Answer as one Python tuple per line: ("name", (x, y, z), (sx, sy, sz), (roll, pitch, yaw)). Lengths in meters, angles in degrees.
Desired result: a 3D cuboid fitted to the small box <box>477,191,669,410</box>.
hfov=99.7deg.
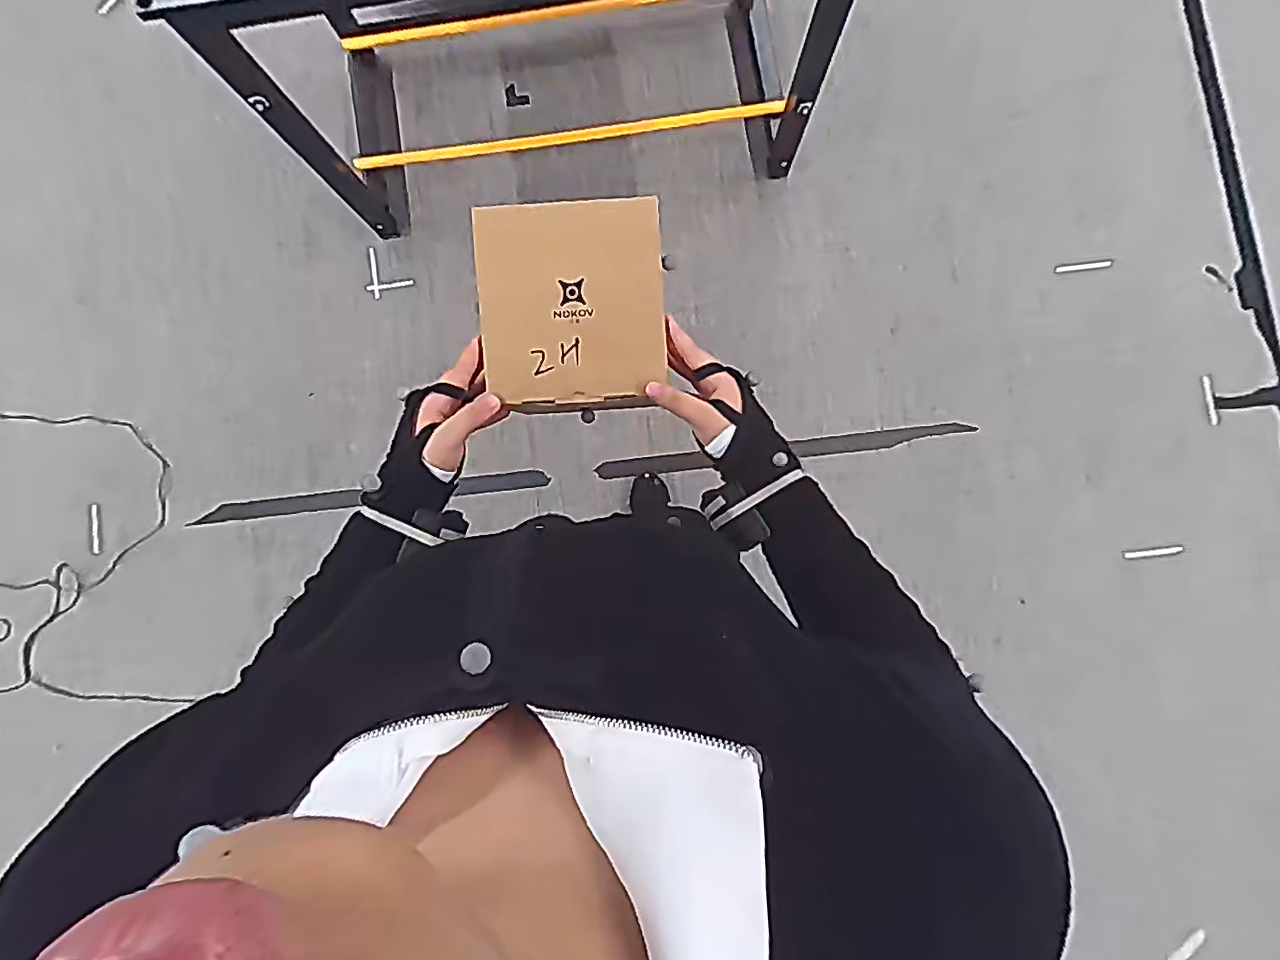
("small box", (-0.060, -0.169, 0.559), (0.168, 0.176, 0.179), (-3, 94, 0))
